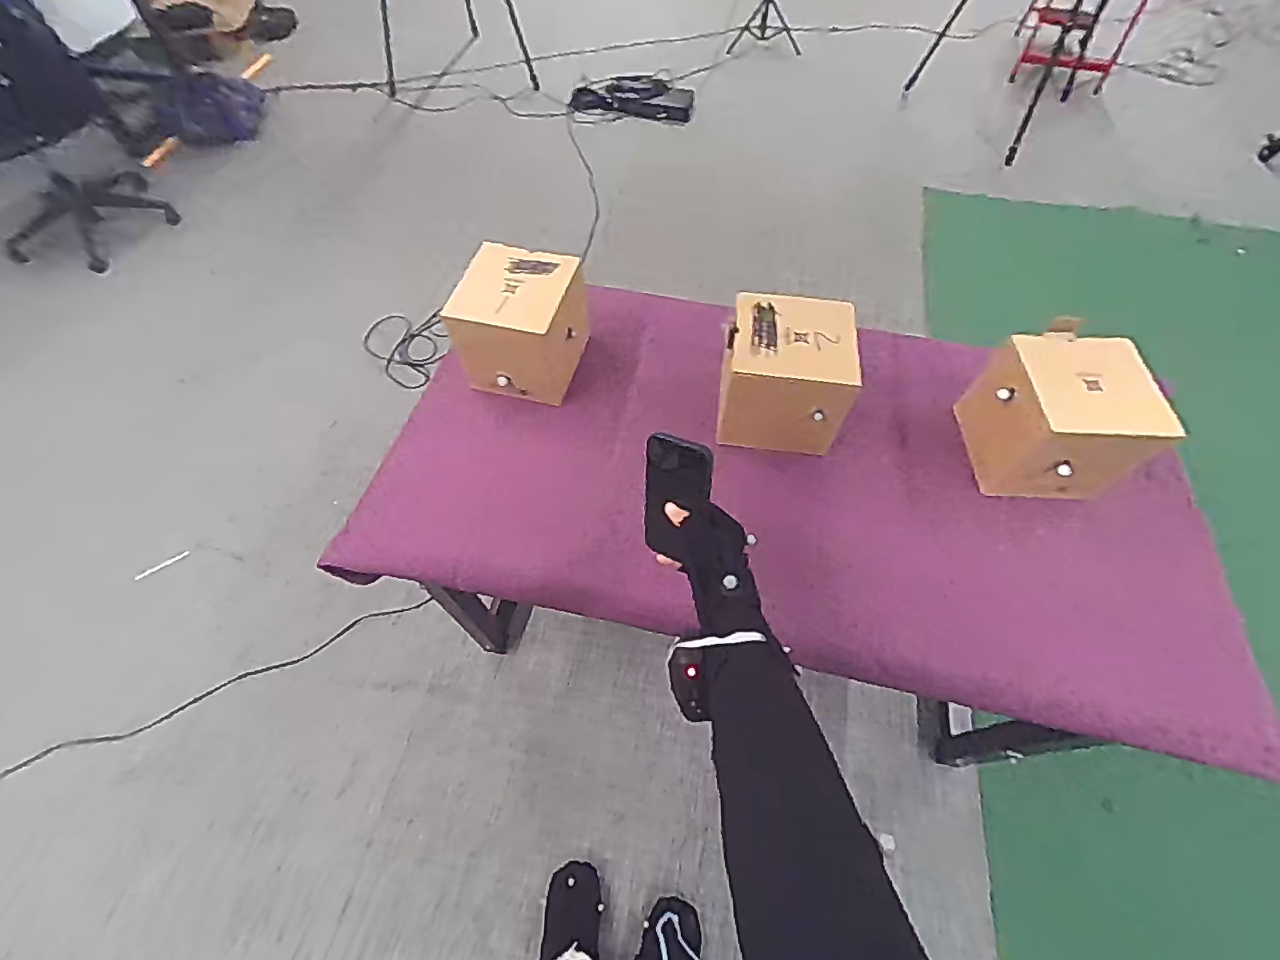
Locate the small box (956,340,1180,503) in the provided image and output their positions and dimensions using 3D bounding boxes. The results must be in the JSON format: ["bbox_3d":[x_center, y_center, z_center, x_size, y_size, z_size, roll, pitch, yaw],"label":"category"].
[{"bbox_3d":[0.598,-0.080,0.787,0.168,0.176,0.179,2,58,2],"label":"small box"}]

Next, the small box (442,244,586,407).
[{"bbox_3d":[-0.192,-0.250,0.887,0.168,0.176,0.179,13,61,7],"label":"small box"}]
